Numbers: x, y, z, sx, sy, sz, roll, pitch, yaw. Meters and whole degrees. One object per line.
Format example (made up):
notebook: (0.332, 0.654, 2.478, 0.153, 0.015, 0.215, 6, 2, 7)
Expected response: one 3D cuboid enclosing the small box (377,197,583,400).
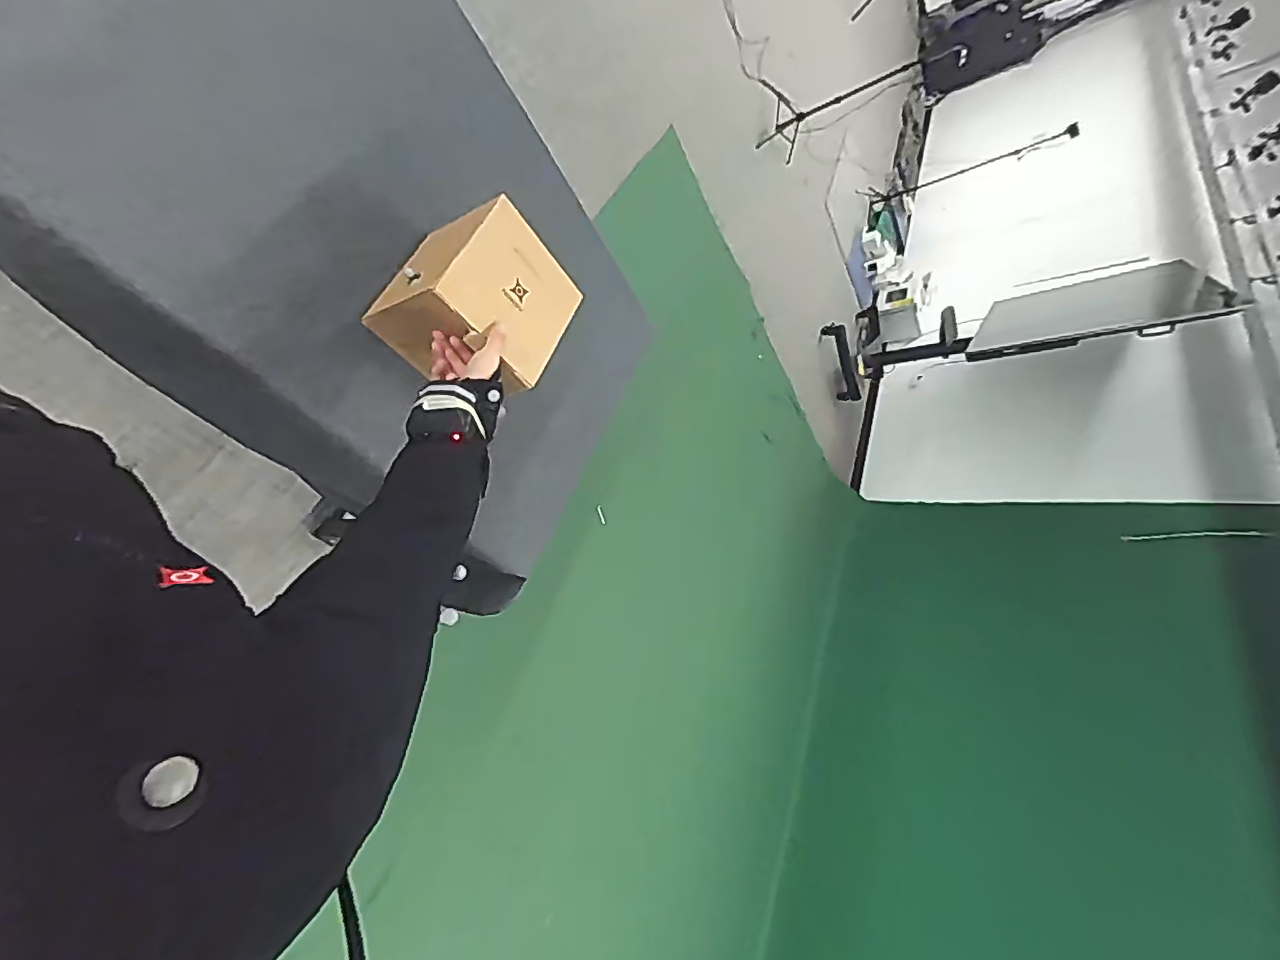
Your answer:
small box: (-0.211, -0.224, 0.713, 0.168, 0.176, 0.179, 46, 53, -42)
